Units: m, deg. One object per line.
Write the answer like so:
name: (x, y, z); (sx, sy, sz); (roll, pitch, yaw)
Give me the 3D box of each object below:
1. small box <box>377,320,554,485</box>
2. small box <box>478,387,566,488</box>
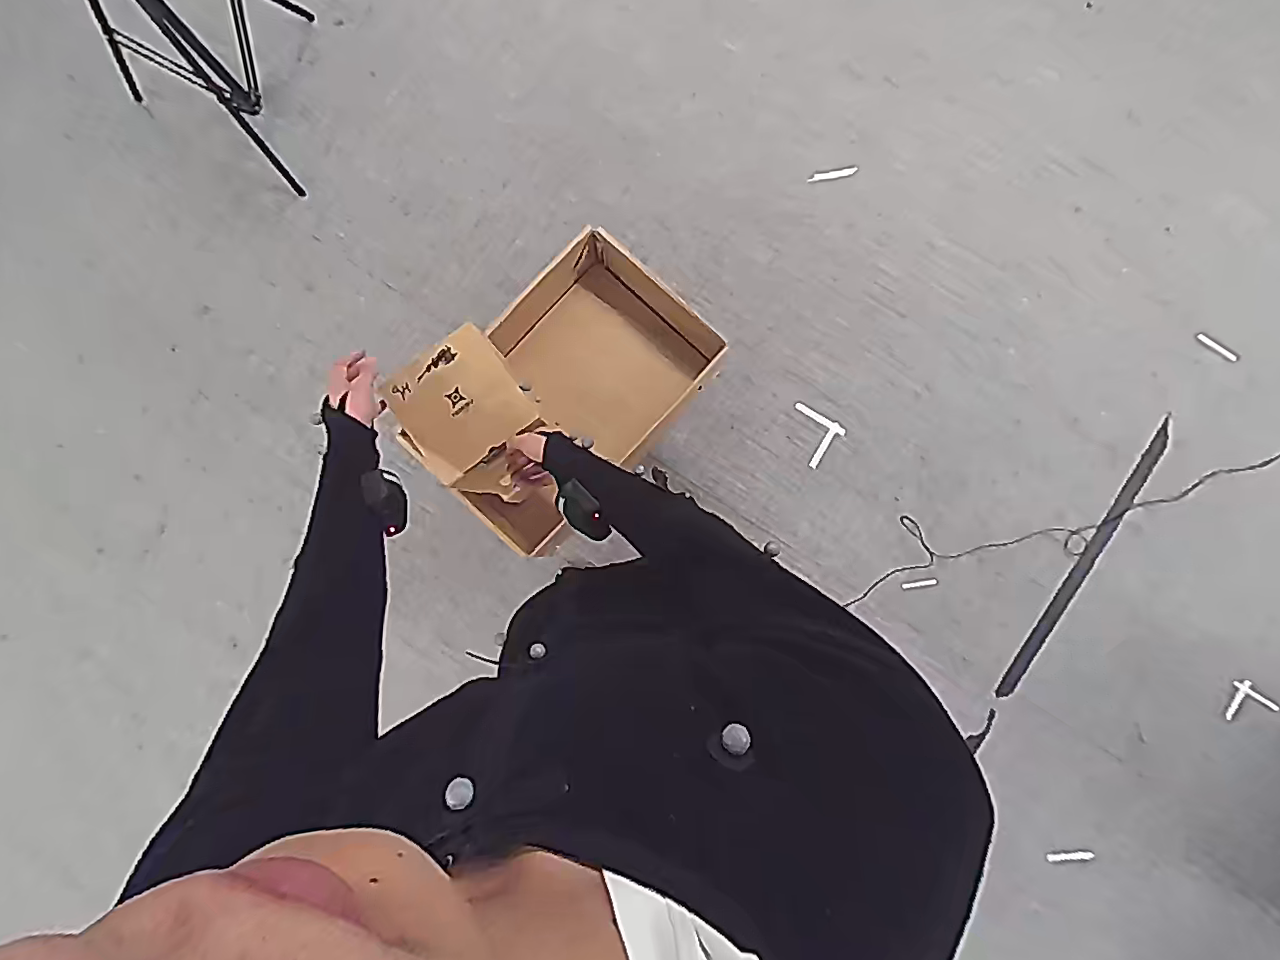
small box: (-0.252, -0.107, 0.831); (0.168, 0.176, 0.179); (-36, 87, -2)
small box: (-0.256, -0.100, 0.996); (0.168, 0.176, 0.179); (-40, 86, -2)
